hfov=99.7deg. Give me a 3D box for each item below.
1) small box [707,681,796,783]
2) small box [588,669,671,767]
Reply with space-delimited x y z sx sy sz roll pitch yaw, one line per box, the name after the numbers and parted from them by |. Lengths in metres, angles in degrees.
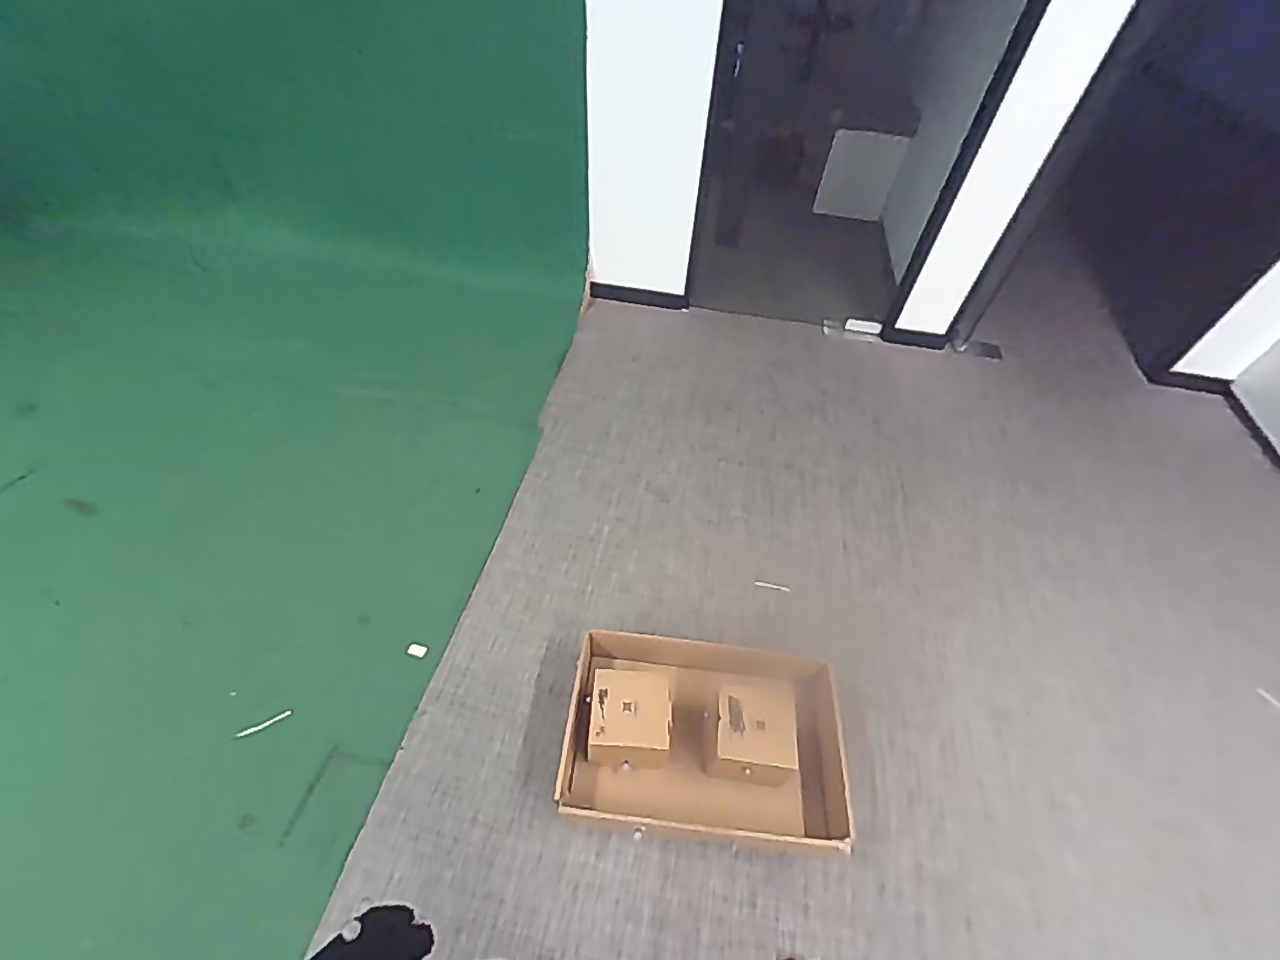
0.254 0.591 1.261 0.179 0.176 0.168 7 50 3 | small box
-0.025 0.560 1.267 0.179 0.176 0.168 5 49 -2 | small box
